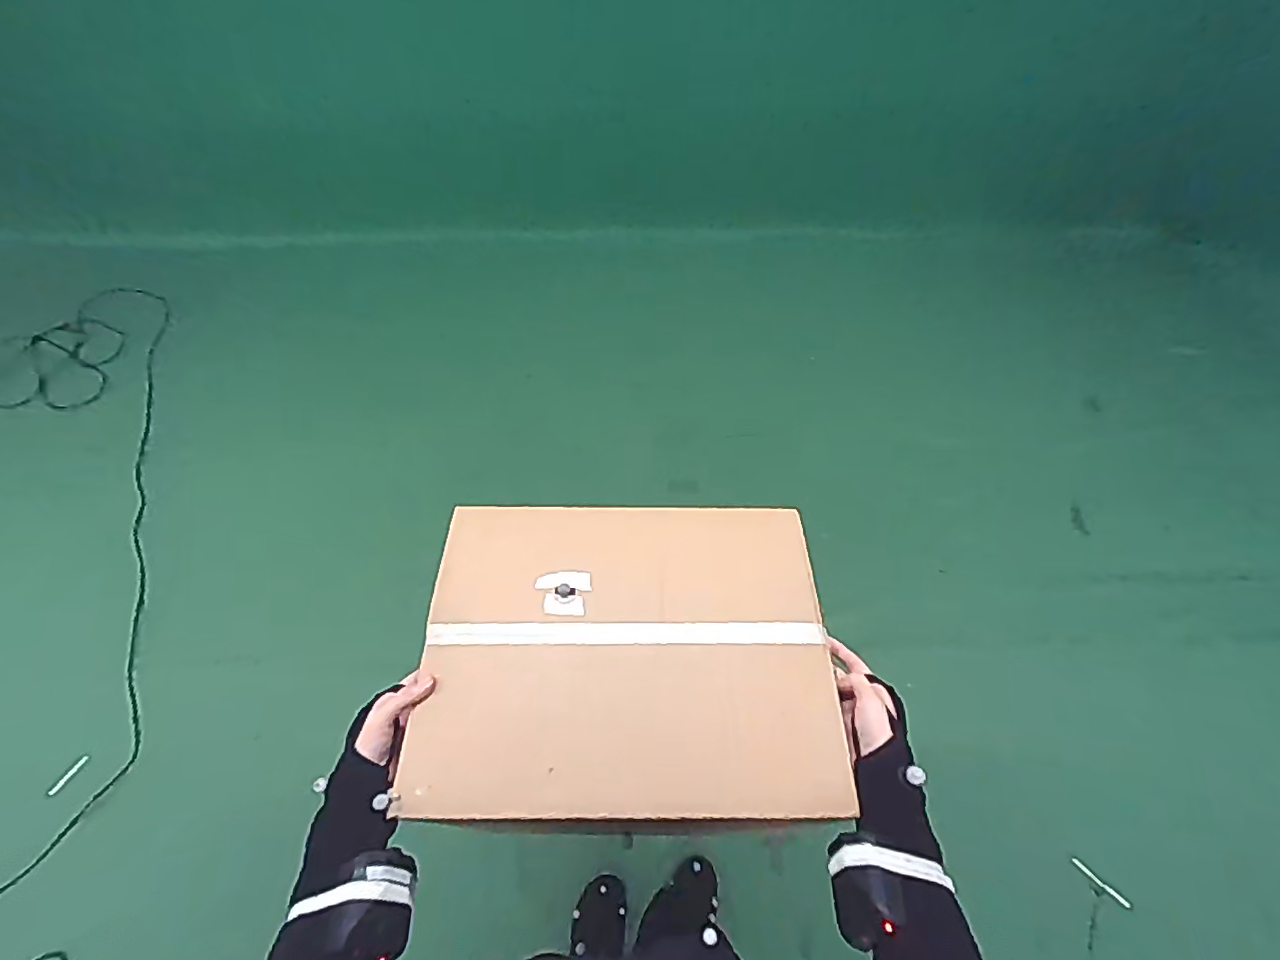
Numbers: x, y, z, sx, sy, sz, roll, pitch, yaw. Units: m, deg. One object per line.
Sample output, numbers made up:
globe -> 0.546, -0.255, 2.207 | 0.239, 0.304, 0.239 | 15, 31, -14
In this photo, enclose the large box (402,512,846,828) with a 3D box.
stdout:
large box -> -0.013, 0.251, 0.684 | 0.408, 0.320, 0.320 | 0, 54, 0
